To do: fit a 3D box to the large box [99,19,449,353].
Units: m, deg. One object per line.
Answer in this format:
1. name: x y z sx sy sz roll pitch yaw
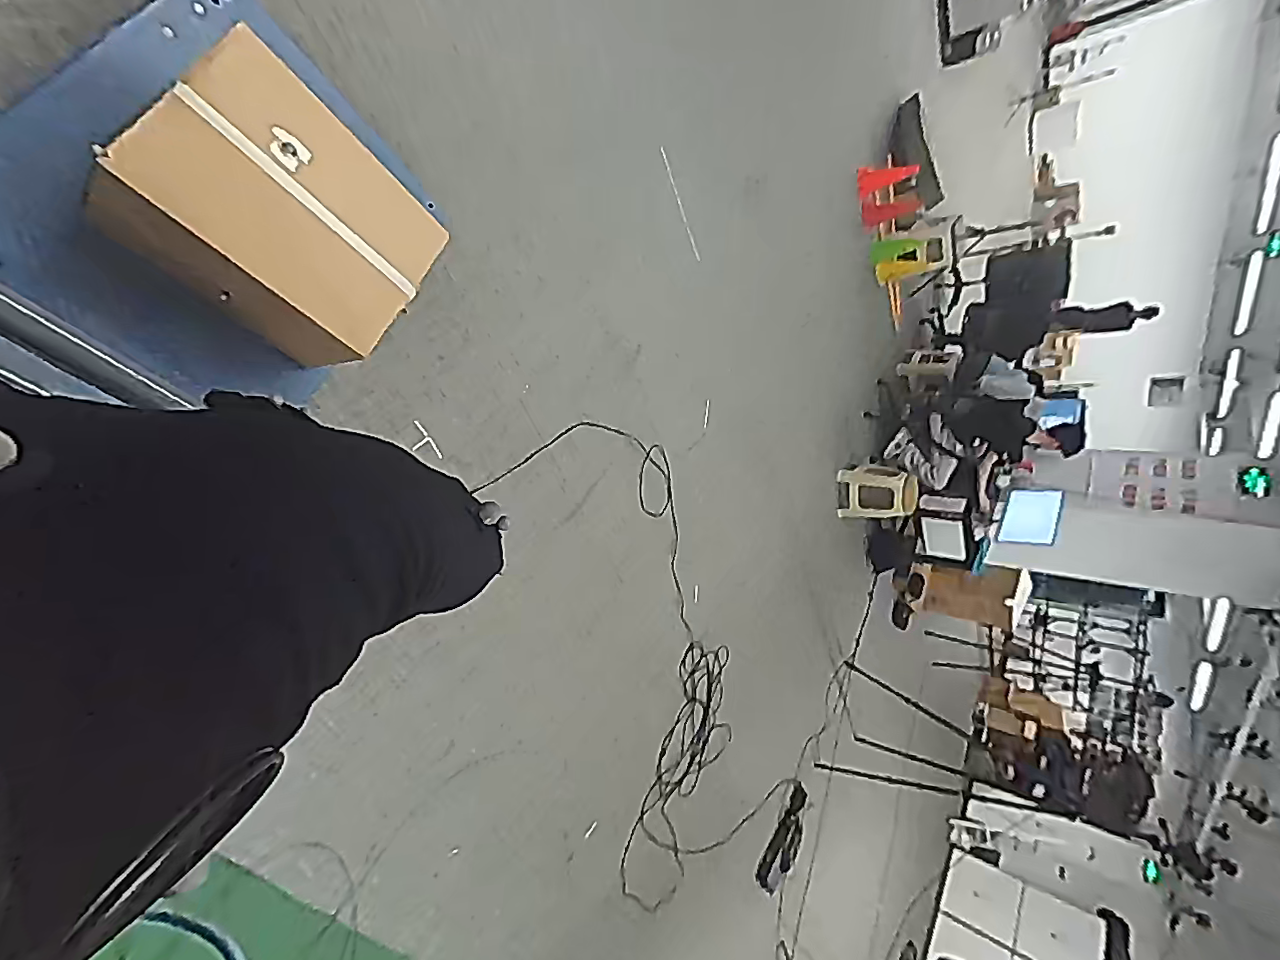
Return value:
1. large box: -0.655 -0.486 1.002 0.408 0.320 0.320 41 65 -42
